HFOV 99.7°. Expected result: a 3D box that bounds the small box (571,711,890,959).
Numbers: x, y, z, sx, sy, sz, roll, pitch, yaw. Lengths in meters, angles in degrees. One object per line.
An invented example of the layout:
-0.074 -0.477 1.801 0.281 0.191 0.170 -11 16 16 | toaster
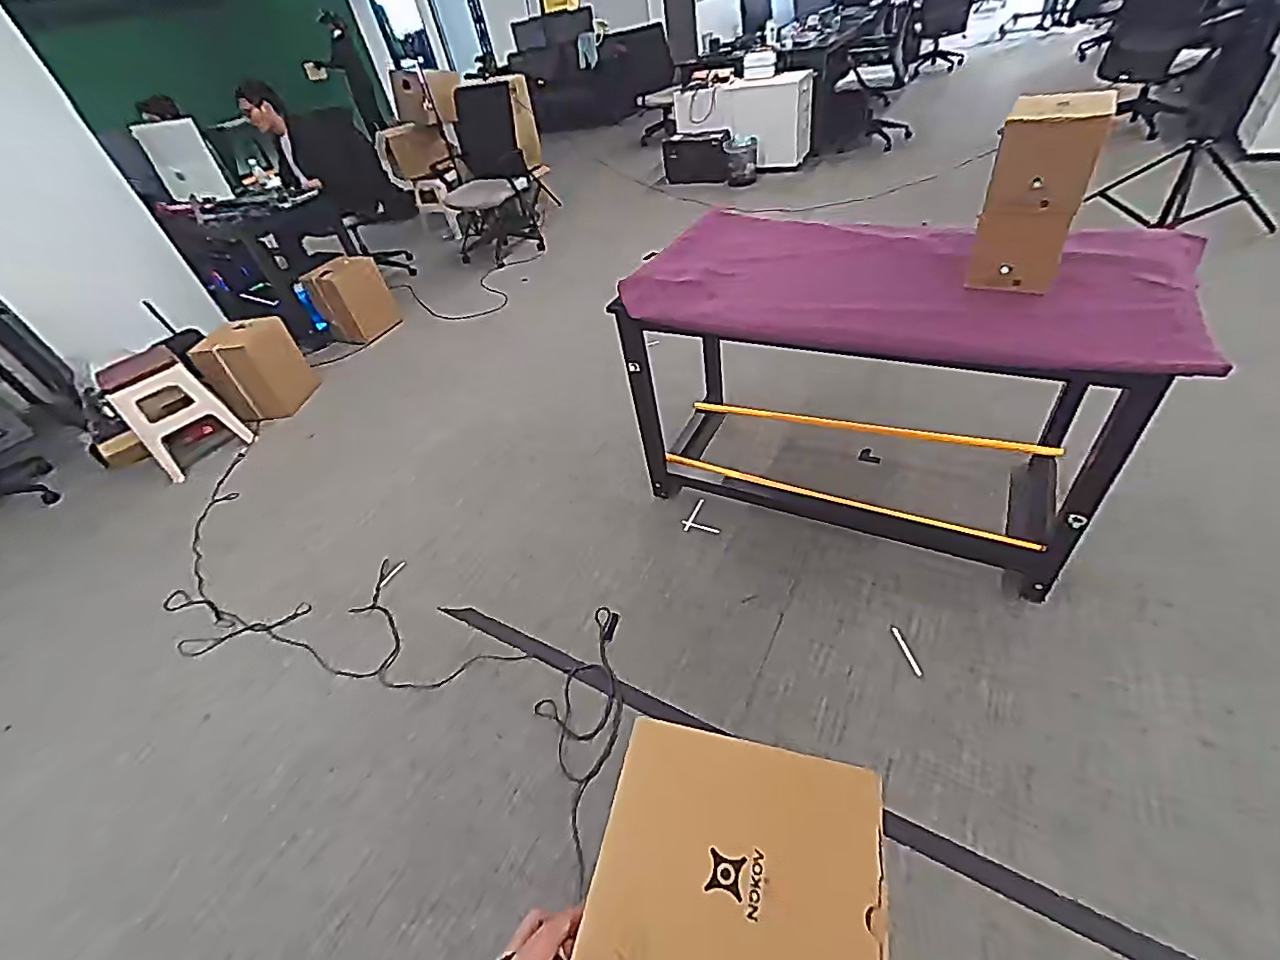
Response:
0.074 0.296 0.391 0.179 0.176 0.168 5 48 17 | small box

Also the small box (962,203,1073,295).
0.836 -0.533 1.199 0.168 0.176 0.179 18 51 29 | small box

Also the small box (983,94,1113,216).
0.812 -0.650 1.085 0.168 0.176 0.179 17 51 29 | small box
